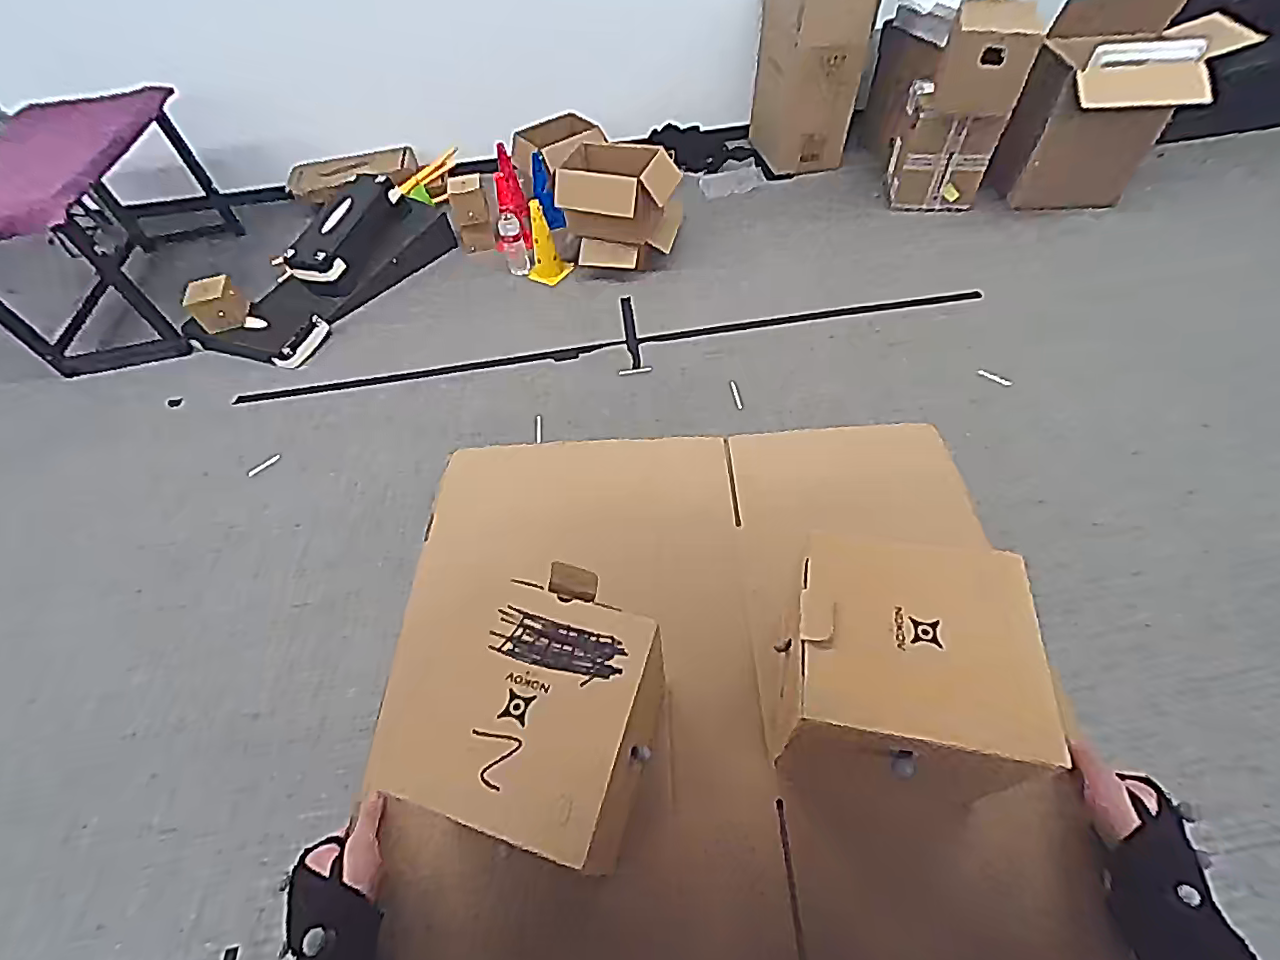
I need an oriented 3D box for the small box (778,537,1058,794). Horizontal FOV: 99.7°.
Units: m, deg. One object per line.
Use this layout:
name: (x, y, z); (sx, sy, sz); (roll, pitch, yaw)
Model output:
small box: (0.228, 0.174, 0.496); (0.179, 0.176, 0.168); (5, 53, 12)
